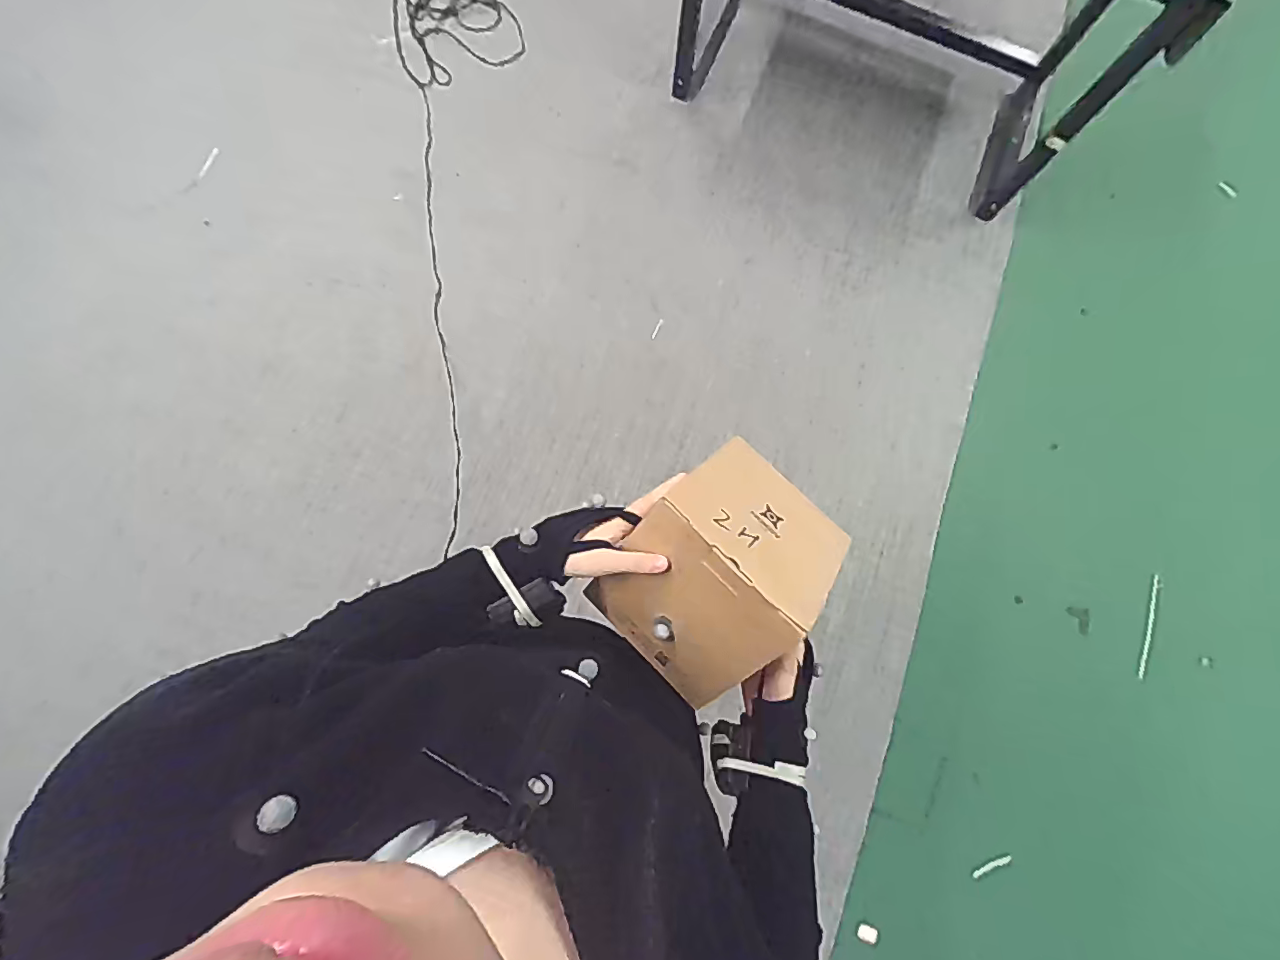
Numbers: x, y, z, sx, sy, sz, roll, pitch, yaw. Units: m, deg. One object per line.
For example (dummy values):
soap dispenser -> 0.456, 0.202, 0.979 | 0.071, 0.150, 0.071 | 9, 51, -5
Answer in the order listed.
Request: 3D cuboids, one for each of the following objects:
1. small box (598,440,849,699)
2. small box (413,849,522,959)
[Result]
small box -> 0.085, 0.091, 0.572 | 0.168, 0.176, 0.179 | 44, 39, 7
small box -> -0.394, 1.008, 1.271 | 0.179, 0.176, 0.168 | 18, 78, -1
